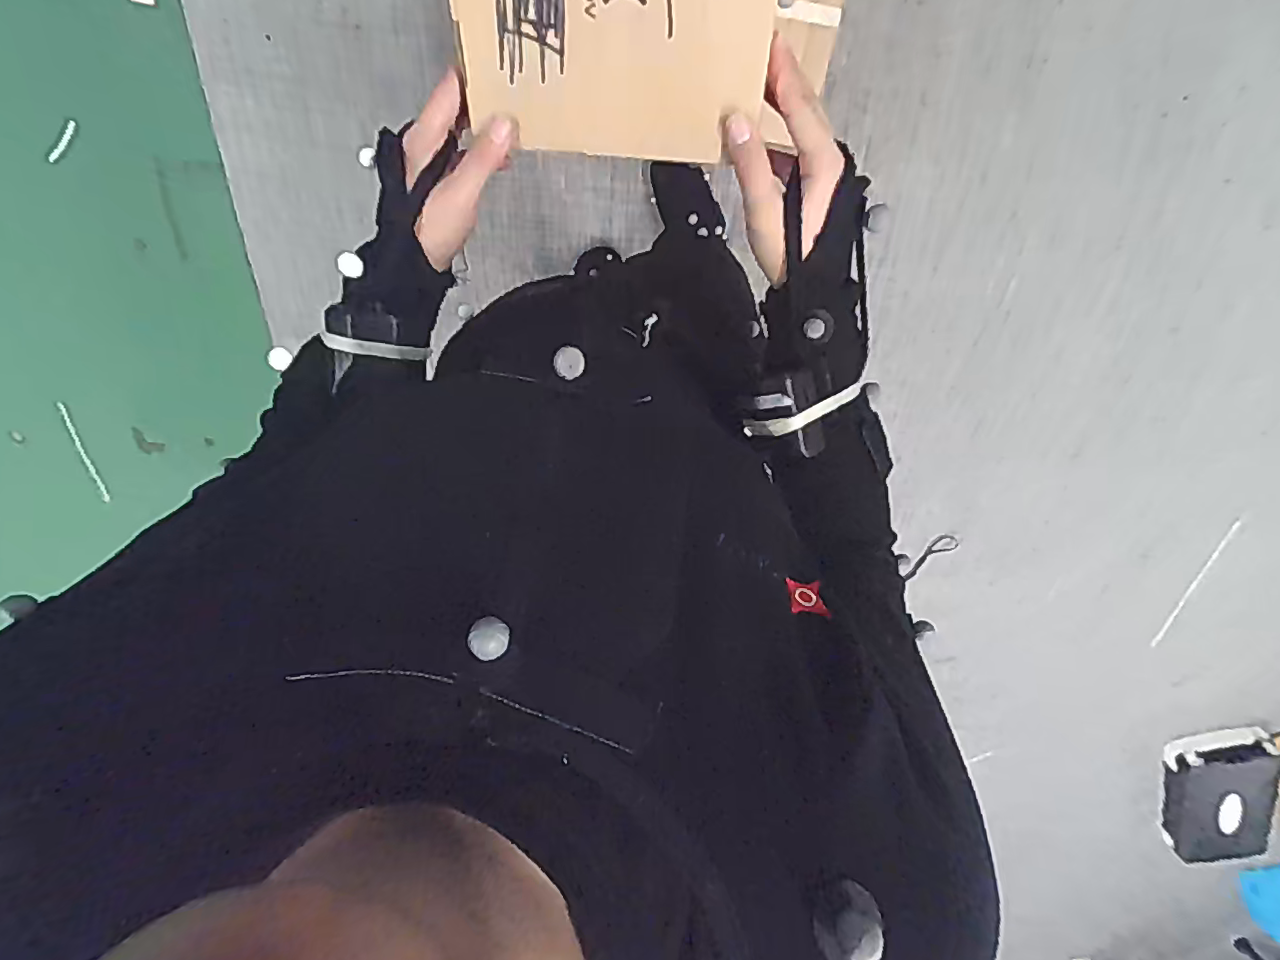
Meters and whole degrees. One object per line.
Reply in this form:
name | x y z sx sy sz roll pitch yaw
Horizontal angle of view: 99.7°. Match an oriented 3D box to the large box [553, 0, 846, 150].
large box | 0.087 -0.744 0.870 0.408 0.320 0.320 8 121 -3
